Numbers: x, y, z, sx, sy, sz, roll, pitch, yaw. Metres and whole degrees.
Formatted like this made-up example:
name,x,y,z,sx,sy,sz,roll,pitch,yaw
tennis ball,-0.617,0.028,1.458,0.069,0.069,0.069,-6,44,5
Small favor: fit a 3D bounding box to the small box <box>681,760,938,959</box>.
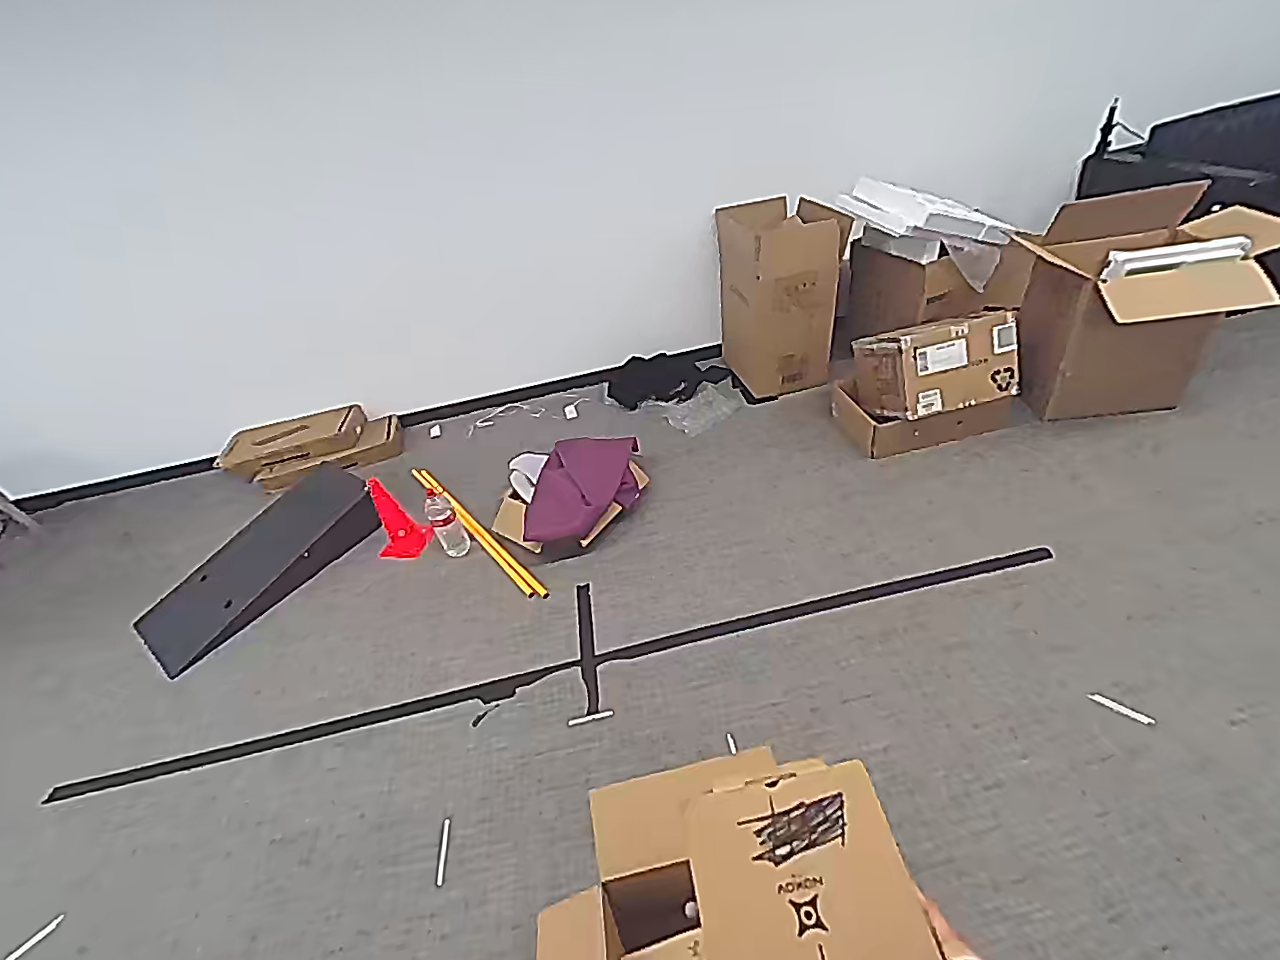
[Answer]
name,x,y,z,sx,sy,sz,roll,pitch,yaw
small box,0.135,0.376,0.471,0.168,0.176,0.179,-12,46,0
